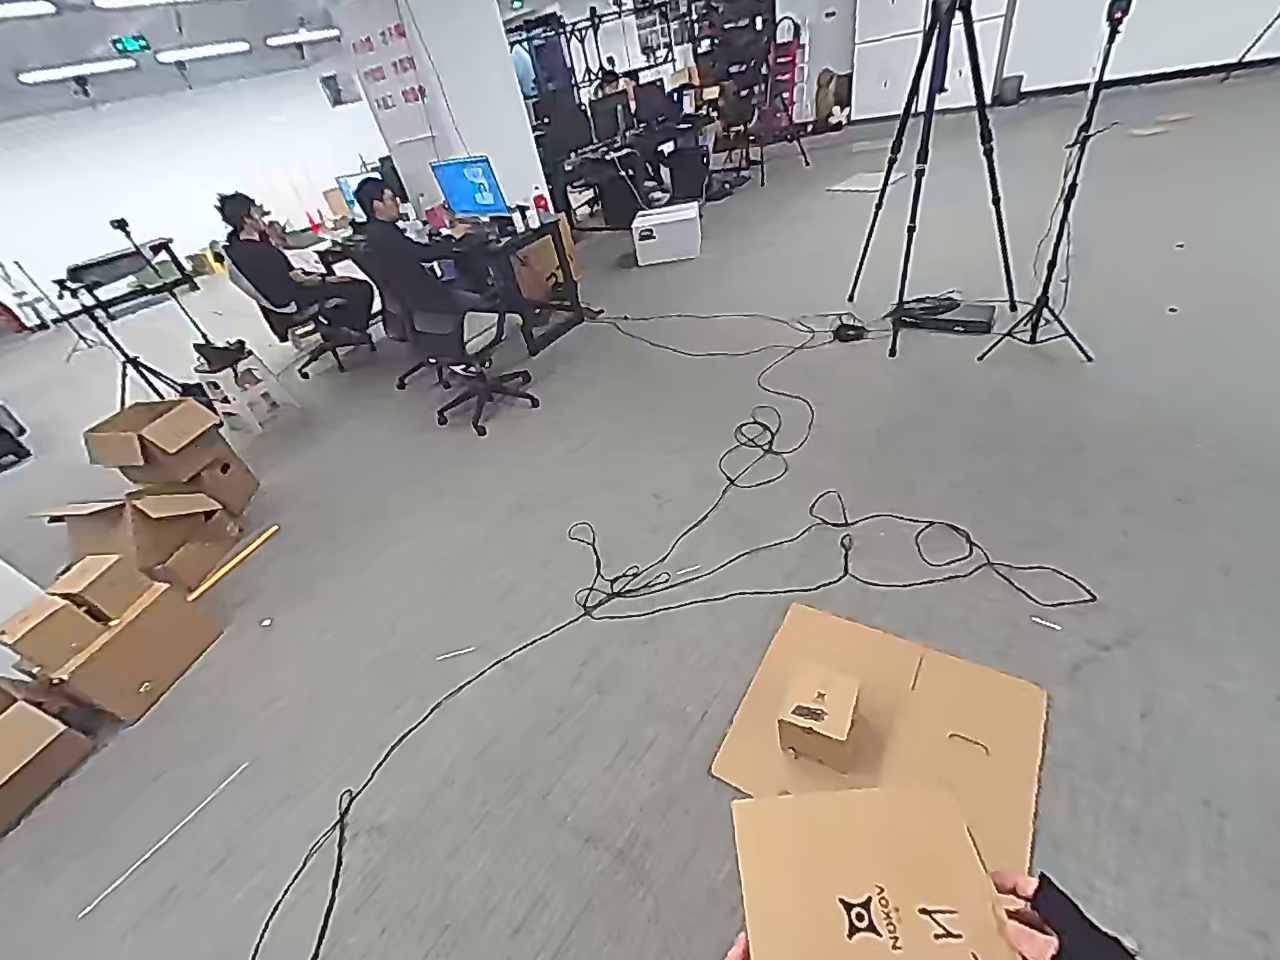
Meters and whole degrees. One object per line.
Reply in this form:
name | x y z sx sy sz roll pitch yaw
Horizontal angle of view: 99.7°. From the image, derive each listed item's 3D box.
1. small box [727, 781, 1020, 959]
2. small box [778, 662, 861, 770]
small box | 0.172 0.361 0.422 0.179 0.176 0.168 -9 39 7
small box | 0.468 0.612 1.400 0.168 0.176 0.179 10 43 29
